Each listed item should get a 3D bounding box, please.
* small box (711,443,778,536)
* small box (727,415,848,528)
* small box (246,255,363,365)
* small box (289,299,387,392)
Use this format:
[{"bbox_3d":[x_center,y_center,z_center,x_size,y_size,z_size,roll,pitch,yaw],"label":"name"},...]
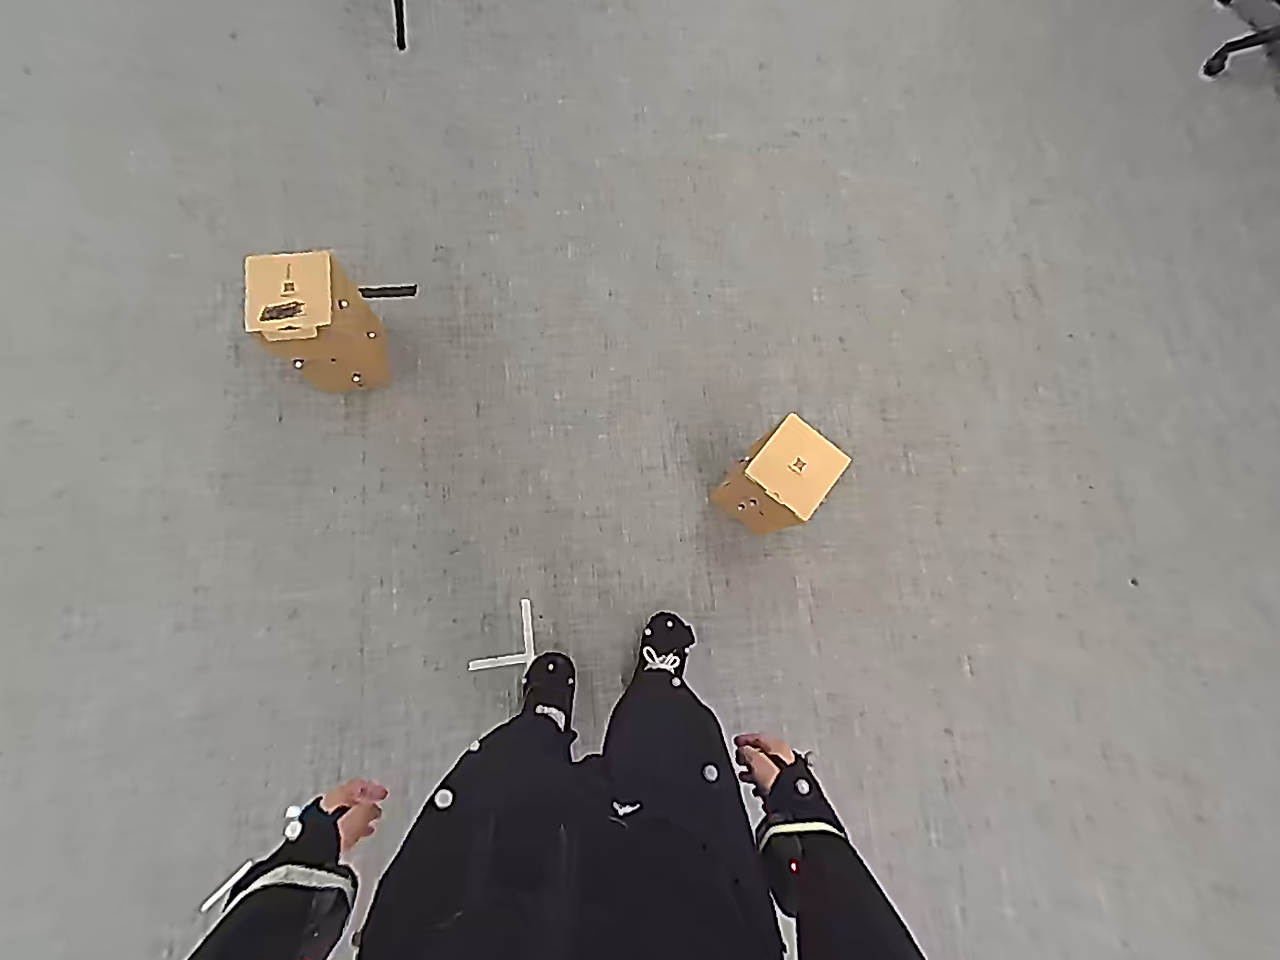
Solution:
[{"bbox_3d":[0.301,0.021,1.367,0.168,0.176,0.179,39,77,3],"label":"small box"},{"bbox_3d":[0.319,-0.011,1.207,0.168,0.176,0.179,39,79,2],"label":"small box"},{"bbox_3d":[-0.724,-0.362,1.183,0.168,0.176,0.179,-7,78,-7],"label":"small box"},{"bbox_3d":[-0.745,-0.328,1.343,0.168,0.176,0.179,-8,78,-8],"label":"small box"}]
